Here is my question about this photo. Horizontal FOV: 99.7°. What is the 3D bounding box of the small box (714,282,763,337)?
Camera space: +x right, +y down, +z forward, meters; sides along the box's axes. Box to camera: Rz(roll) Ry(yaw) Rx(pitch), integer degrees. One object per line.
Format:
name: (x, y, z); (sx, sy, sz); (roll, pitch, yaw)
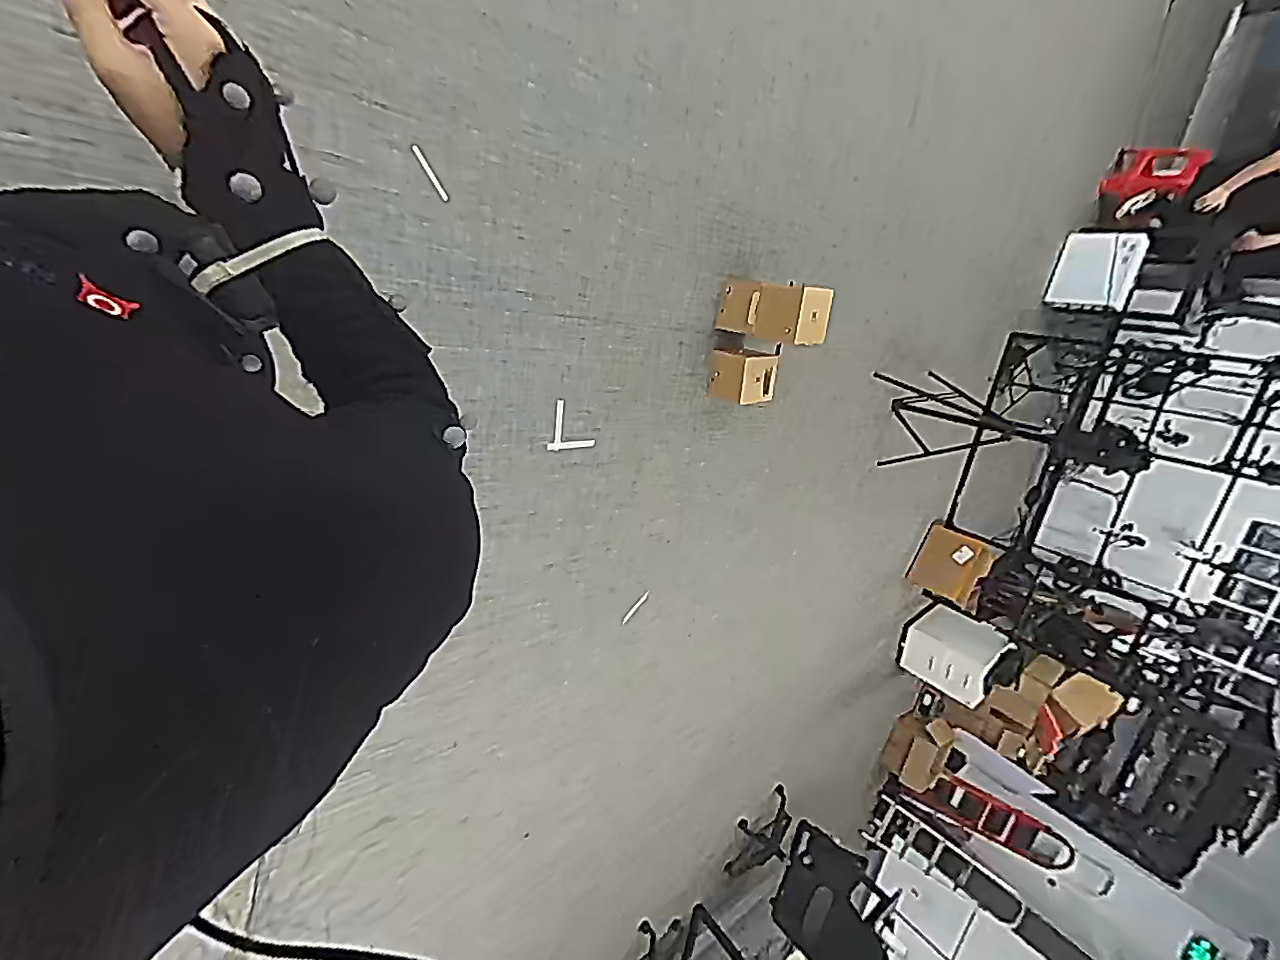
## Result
small box: (0.384, -0.595, 1.899); (0.179, 0.176, 0.168); (-4, 111, -41)

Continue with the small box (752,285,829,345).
small box: (0.493, -0.547, 1.788); (0.168, 0.176, 0.179); (-12, 117, -38)
